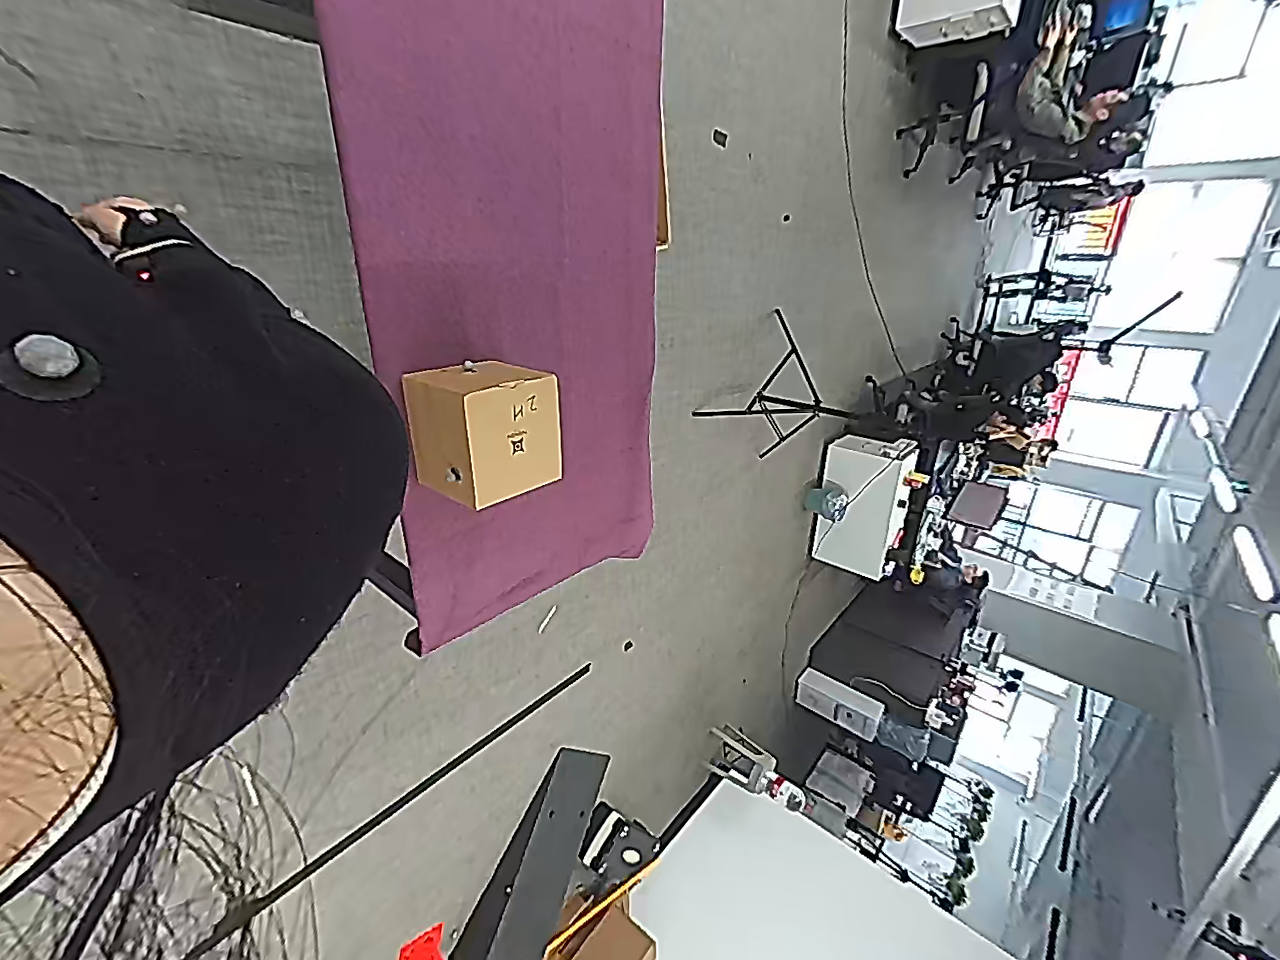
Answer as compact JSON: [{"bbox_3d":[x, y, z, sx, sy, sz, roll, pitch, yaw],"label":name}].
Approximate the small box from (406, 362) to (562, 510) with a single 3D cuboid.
[{"bbox_3d":[-0.241,-0.079,0.849,0.168,0.176,0.179,-24,123,-45],"label":"small box"}]
